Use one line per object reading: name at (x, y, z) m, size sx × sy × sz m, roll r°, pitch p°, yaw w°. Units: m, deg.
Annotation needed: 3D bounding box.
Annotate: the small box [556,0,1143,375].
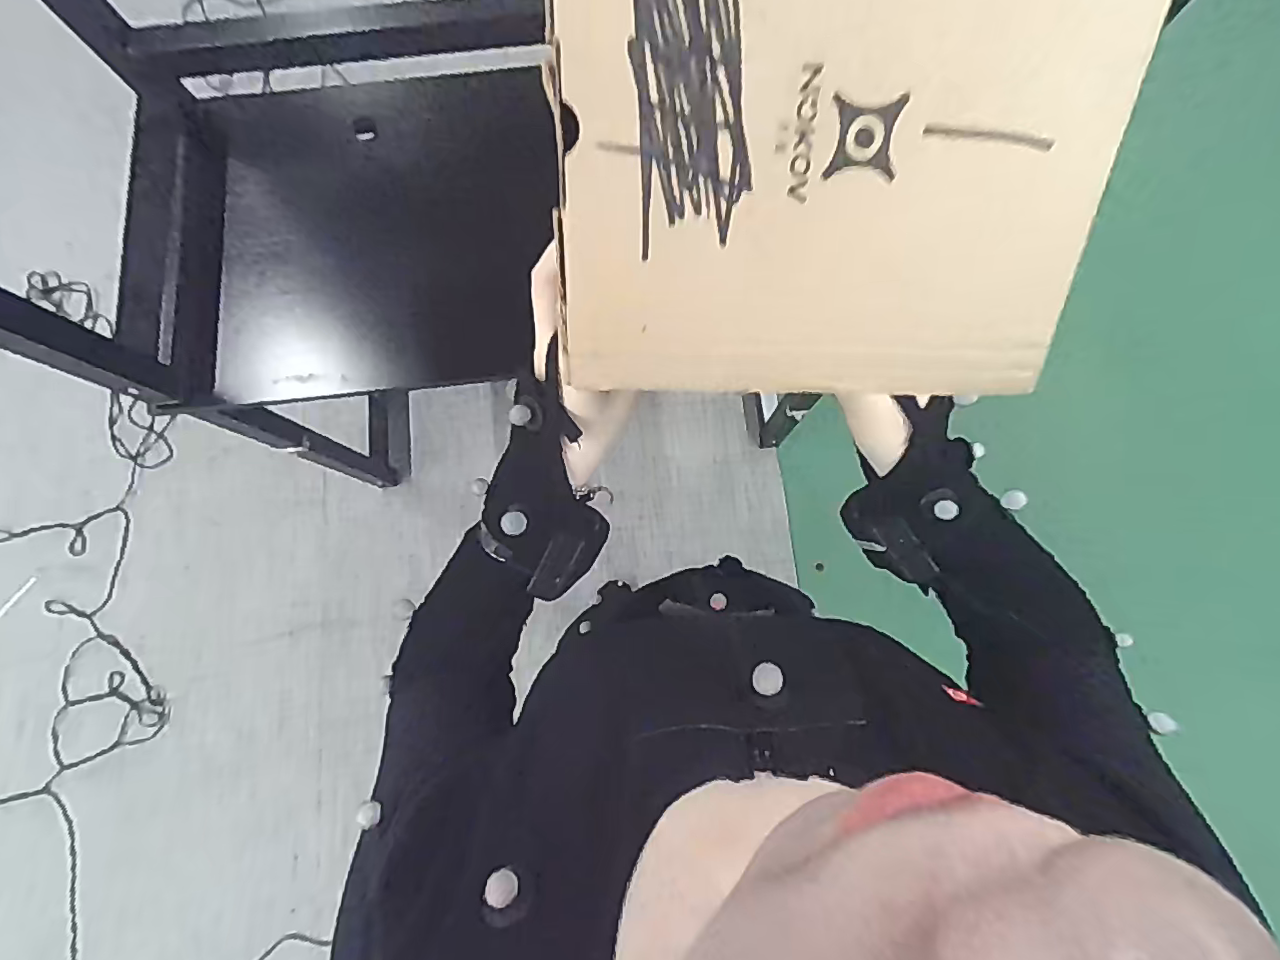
small box at (0.063, -0.152, 0.246) m, size 0.179 × 0.176 × 0.168 m, roll 2°, pitch 117°, yaw 0°
